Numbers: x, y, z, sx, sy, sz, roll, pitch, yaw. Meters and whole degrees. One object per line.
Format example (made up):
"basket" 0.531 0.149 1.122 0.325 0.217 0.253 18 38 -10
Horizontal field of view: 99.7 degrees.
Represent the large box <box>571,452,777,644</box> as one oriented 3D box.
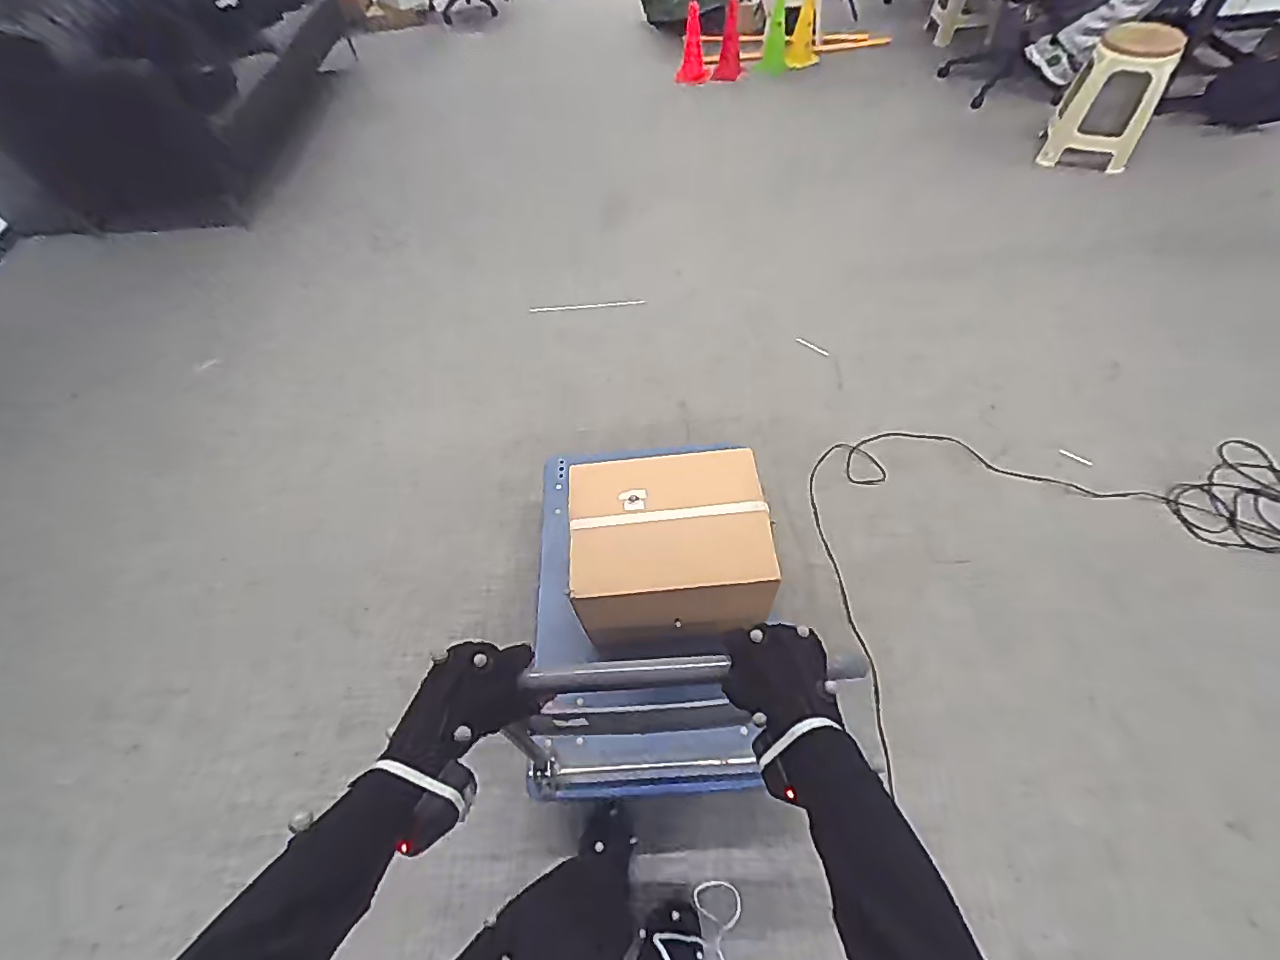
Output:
"large box" 0.070 0.168 1.240 0.408 0.320 0.320 -6 56 3
